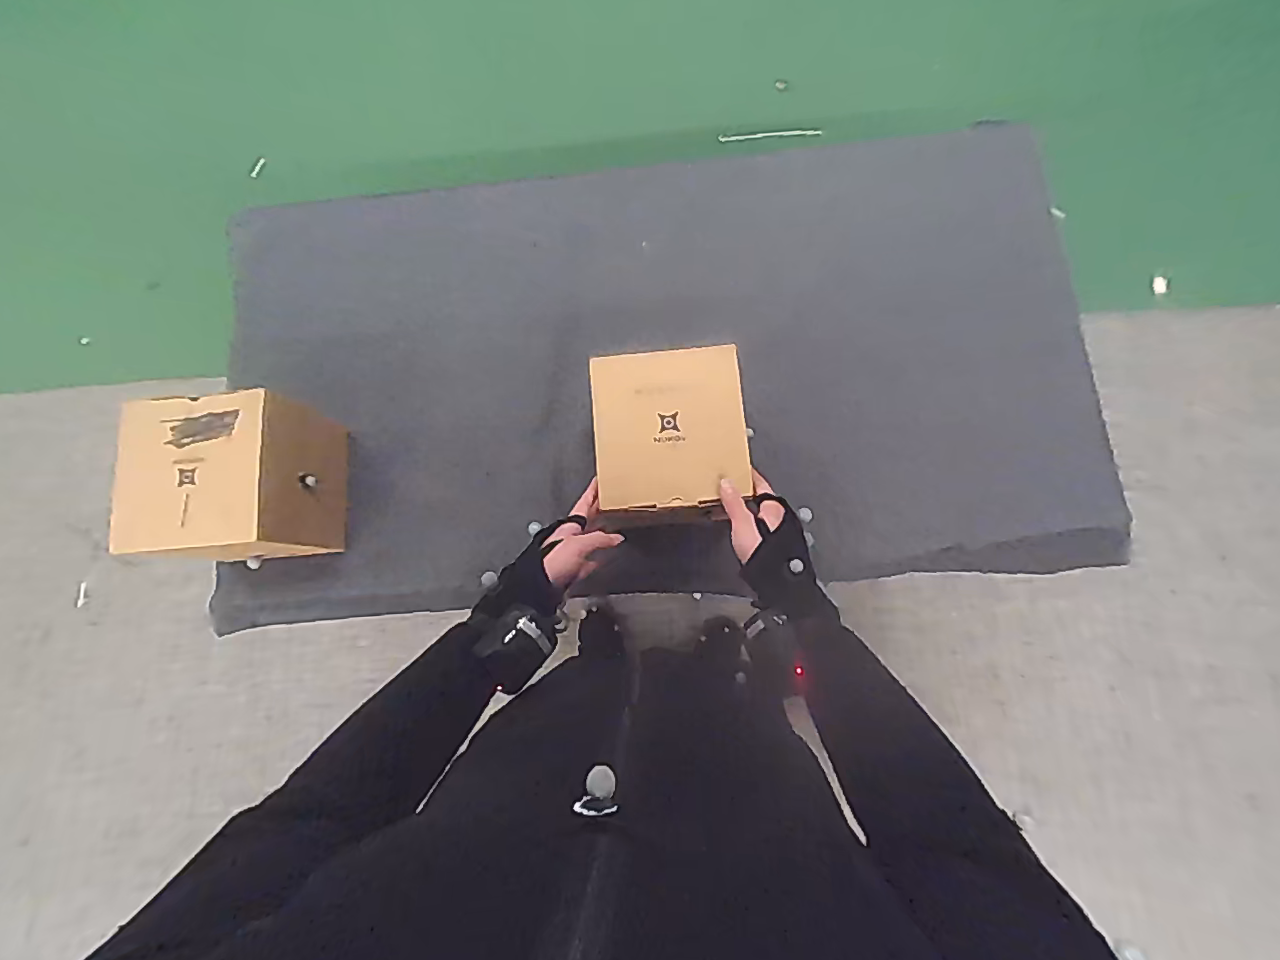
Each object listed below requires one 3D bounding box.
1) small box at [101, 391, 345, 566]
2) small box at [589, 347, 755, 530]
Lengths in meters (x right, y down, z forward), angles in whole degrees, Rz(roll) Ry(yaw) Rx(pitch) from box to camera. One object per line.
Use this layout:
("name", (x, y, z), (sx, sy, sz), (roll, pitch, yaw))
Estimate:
("small box", (-0.487, 0.007, 0.661), (0.168, 0.176, 0.179), (-5, 78, 1))
("small box", (0.035, -0.037, 0.652), (0.168, 0.176, 0.179), (-6, 77, 0))
